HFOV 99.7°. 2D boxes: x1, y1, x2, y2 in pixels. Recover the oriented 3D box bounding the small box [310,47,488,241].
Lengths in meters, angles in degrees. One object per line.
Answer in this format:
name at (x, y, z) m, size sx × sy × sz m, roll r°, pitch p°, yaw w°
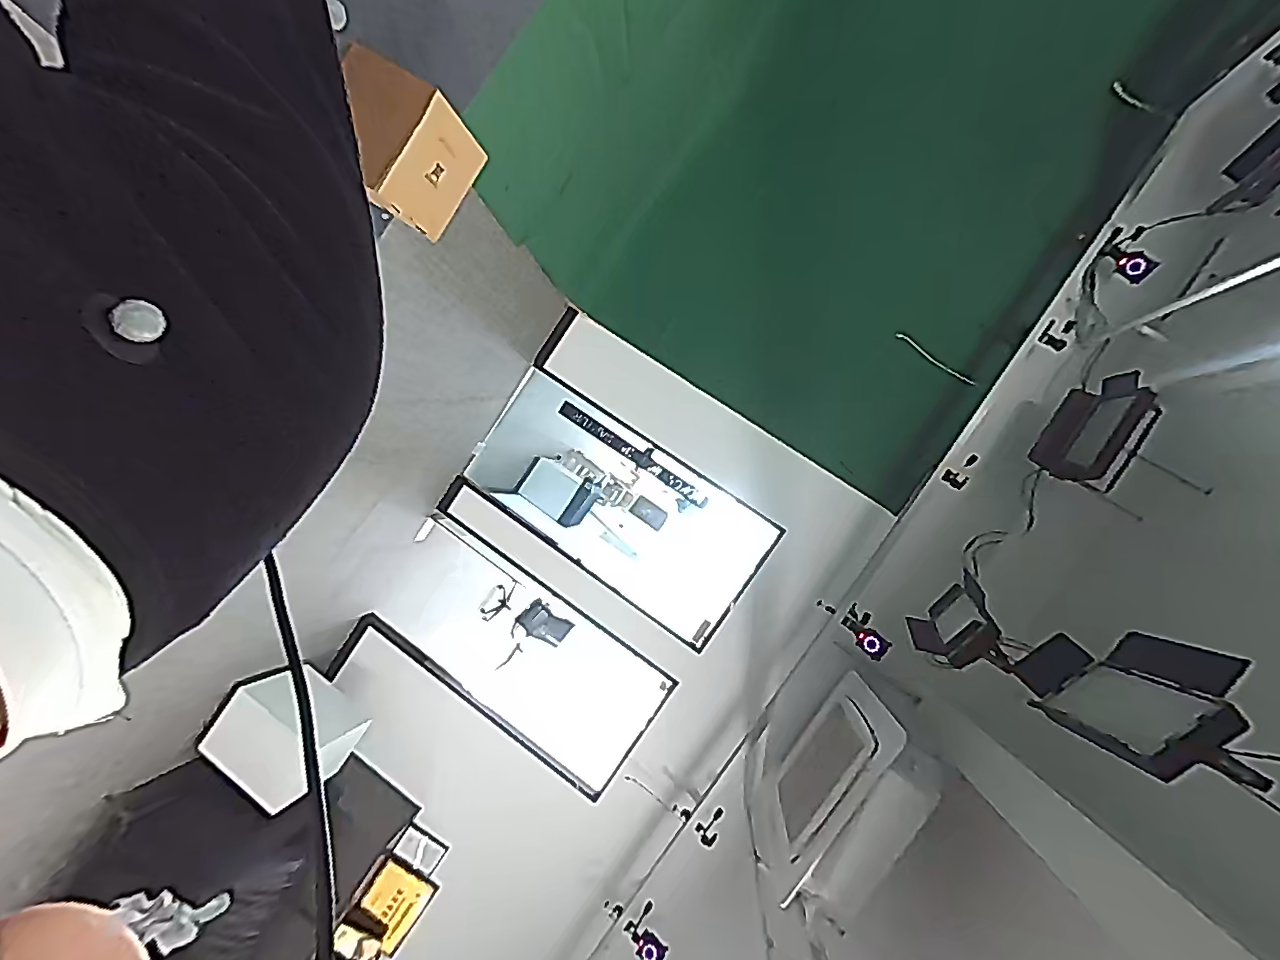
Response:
small box at (-0.391, -0.538, 0.880) m, size 0.179 × 0.176 × 0.168 m, roll -57°, pitch 172°, yaw 4°
